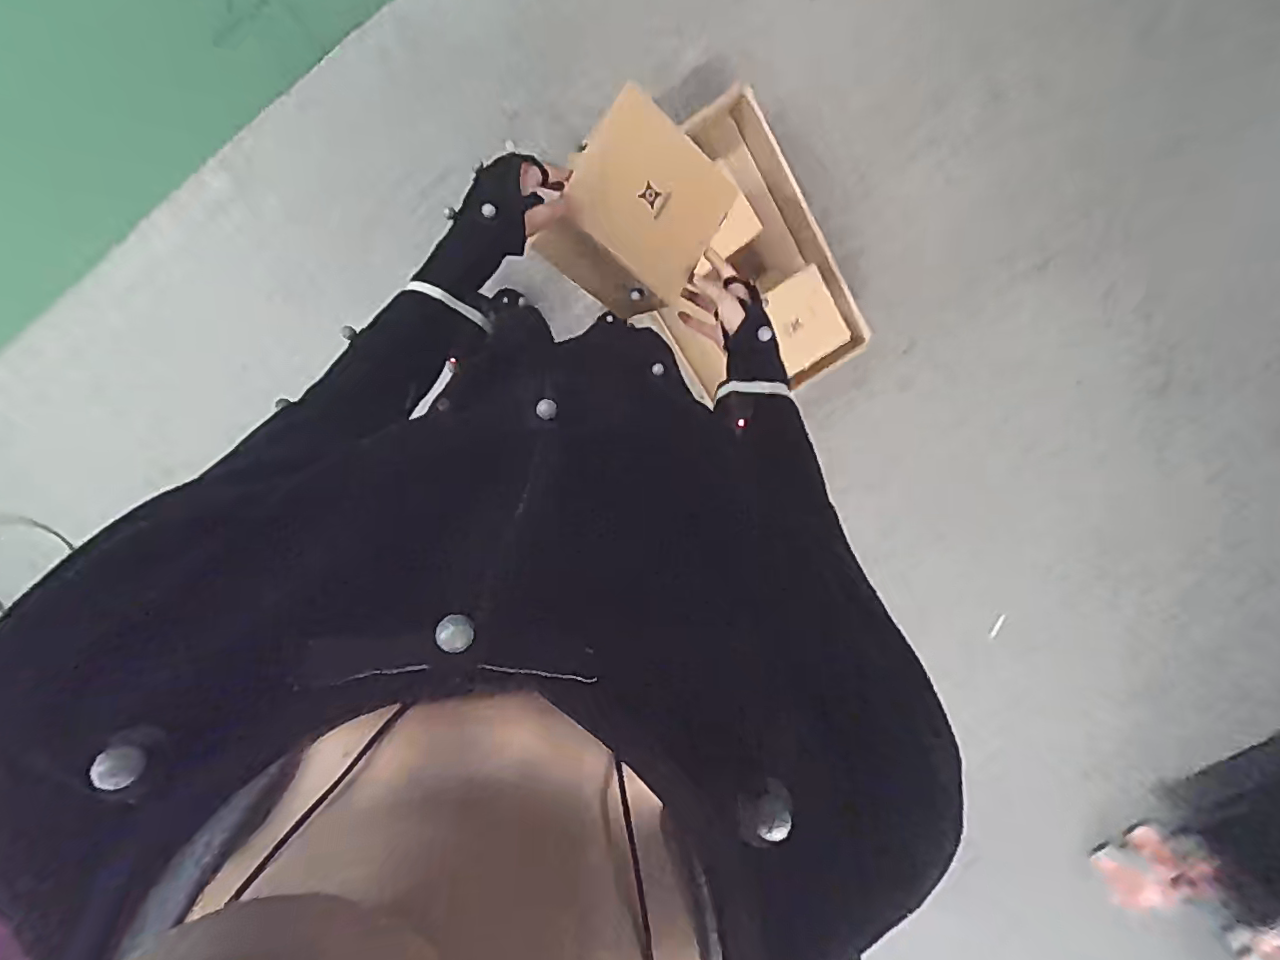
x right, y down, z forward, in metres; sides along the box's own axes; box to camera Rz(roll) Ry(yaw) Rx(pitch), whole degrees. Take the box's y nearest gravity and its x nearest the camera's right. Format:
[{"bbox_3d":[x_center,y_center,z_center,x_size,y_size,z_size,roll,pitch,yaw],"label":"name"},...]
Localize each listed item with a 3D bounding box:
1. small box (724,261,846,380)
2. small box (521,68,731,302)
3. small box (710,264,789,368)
[{"bbox_3d":[0.289,-0.331,1.125,0.179,0.176,0.168,-30,107,7],"label":"small box"},{"bbox_3d":[-0.027,-0.345,0.679,0.179,0.176,0.168,31,87,-25],"label":"small box"},{"bbox_3d":[0.285,-0.387,1.278,0.179,0.176,0.168,-31,105,8],"label":"small box"}]
